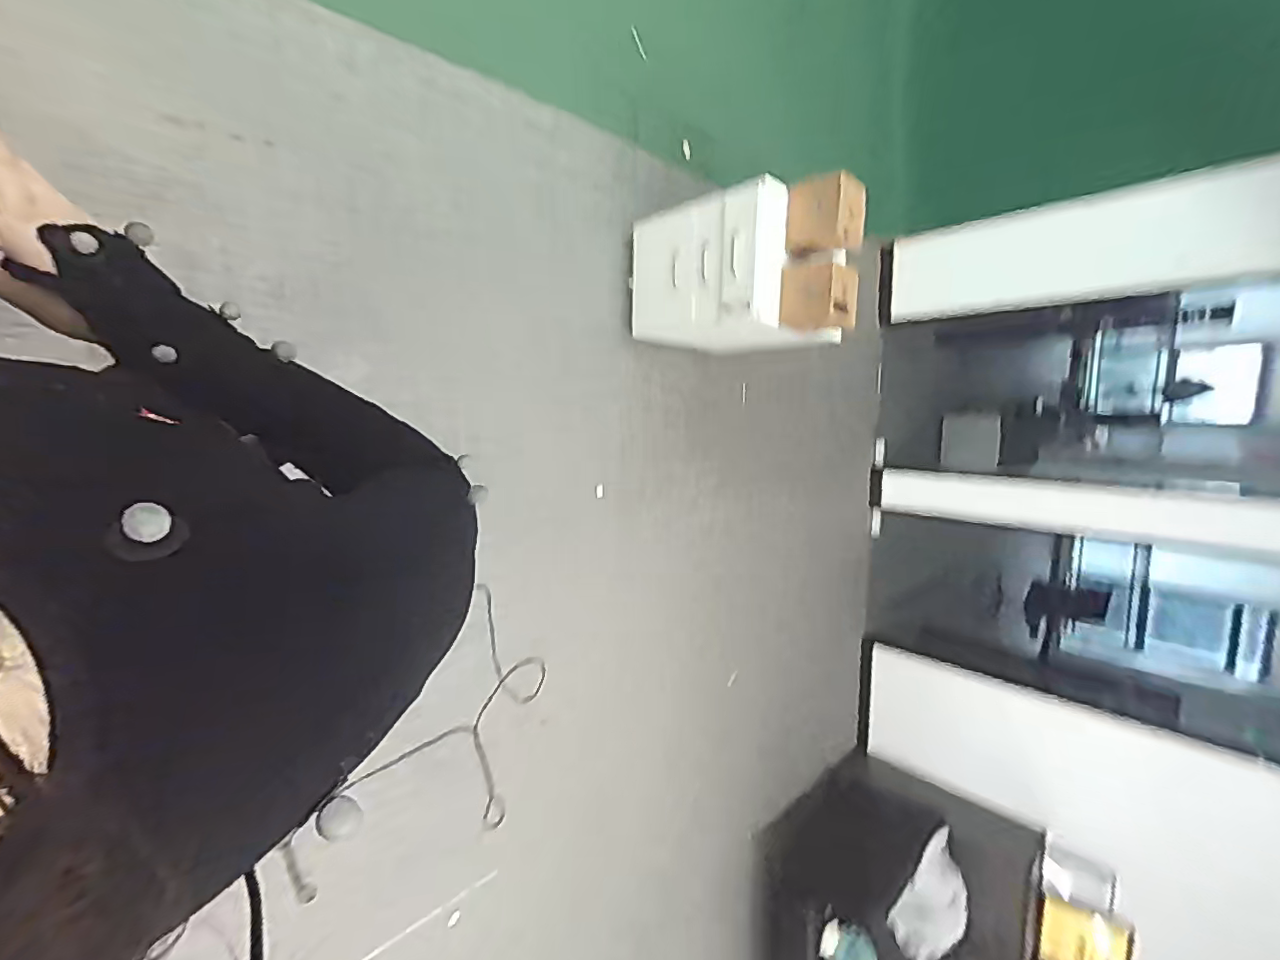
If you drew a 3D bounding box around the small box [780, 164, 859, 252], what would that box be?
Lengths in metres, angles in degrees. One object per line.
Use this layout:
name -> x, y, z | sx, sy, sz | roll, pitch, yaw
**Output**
small box -> 0.534, -0.803, 1.615 | 0.168, 0.176, 0.179 | -6, 101, -44
